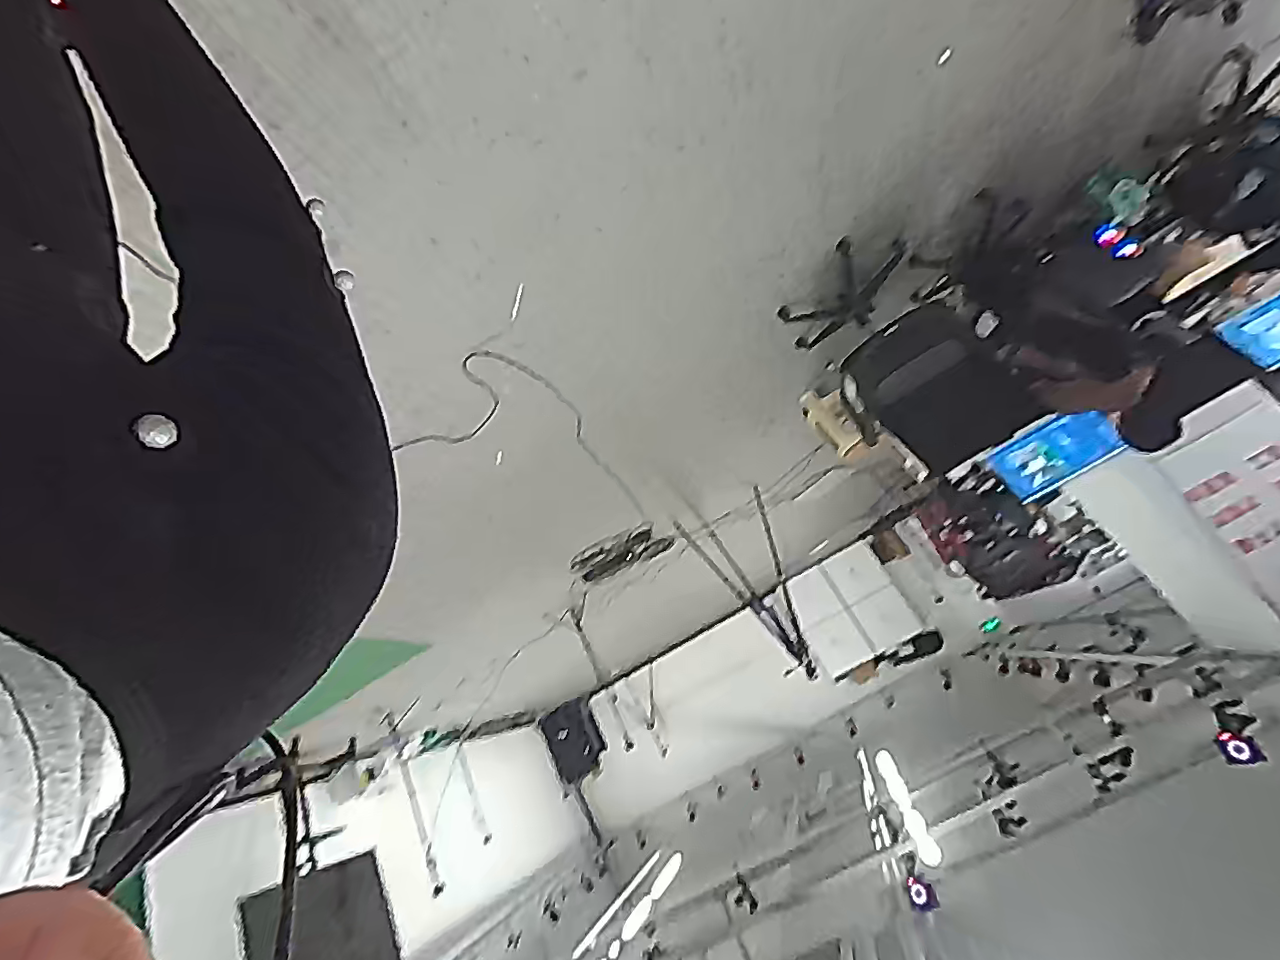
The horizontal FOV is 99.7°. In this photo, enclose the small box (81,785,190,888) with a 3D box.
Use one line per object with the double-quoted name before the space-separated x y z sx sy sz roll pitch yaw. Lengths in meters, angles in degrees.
"small box" -1.435 1.005 1.541 0.179 0.176 0.168 -35 155 8
